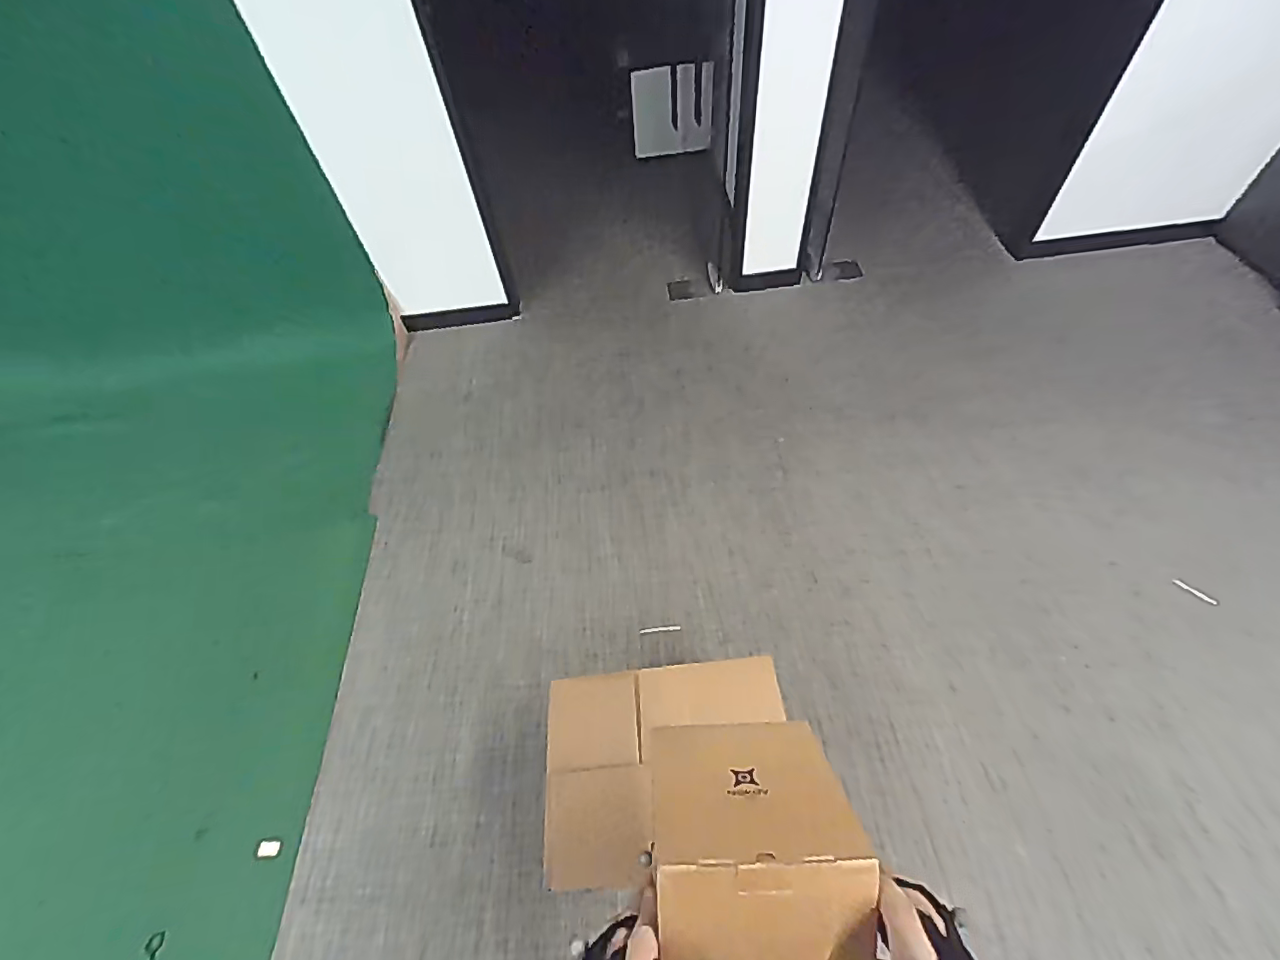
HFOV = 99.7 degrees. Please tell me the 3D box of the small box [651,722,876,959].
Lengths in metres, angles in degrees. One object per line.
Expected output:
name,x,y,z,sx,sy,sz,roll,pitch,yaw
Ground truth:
small box,0.094,0.348,0.495,0.168,0.179,0.176,0,99,0
